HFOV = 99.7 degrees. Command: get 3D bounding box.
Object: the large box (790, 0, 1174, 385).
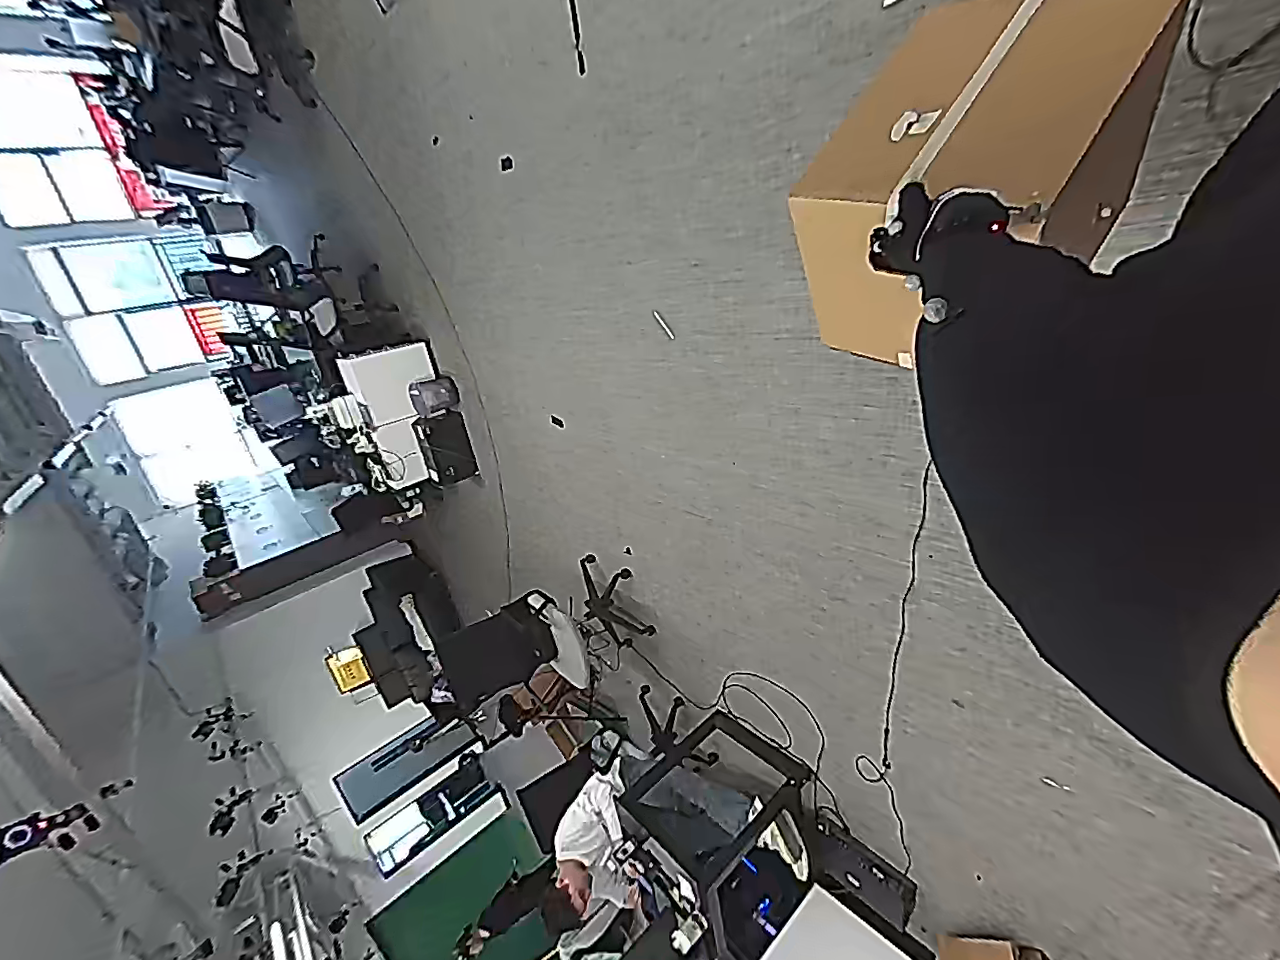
[{"bbox_3d":[0.491,-0.422,0.820,0.320,0.408,0.320,29,169,39],"label":"large box"}]
